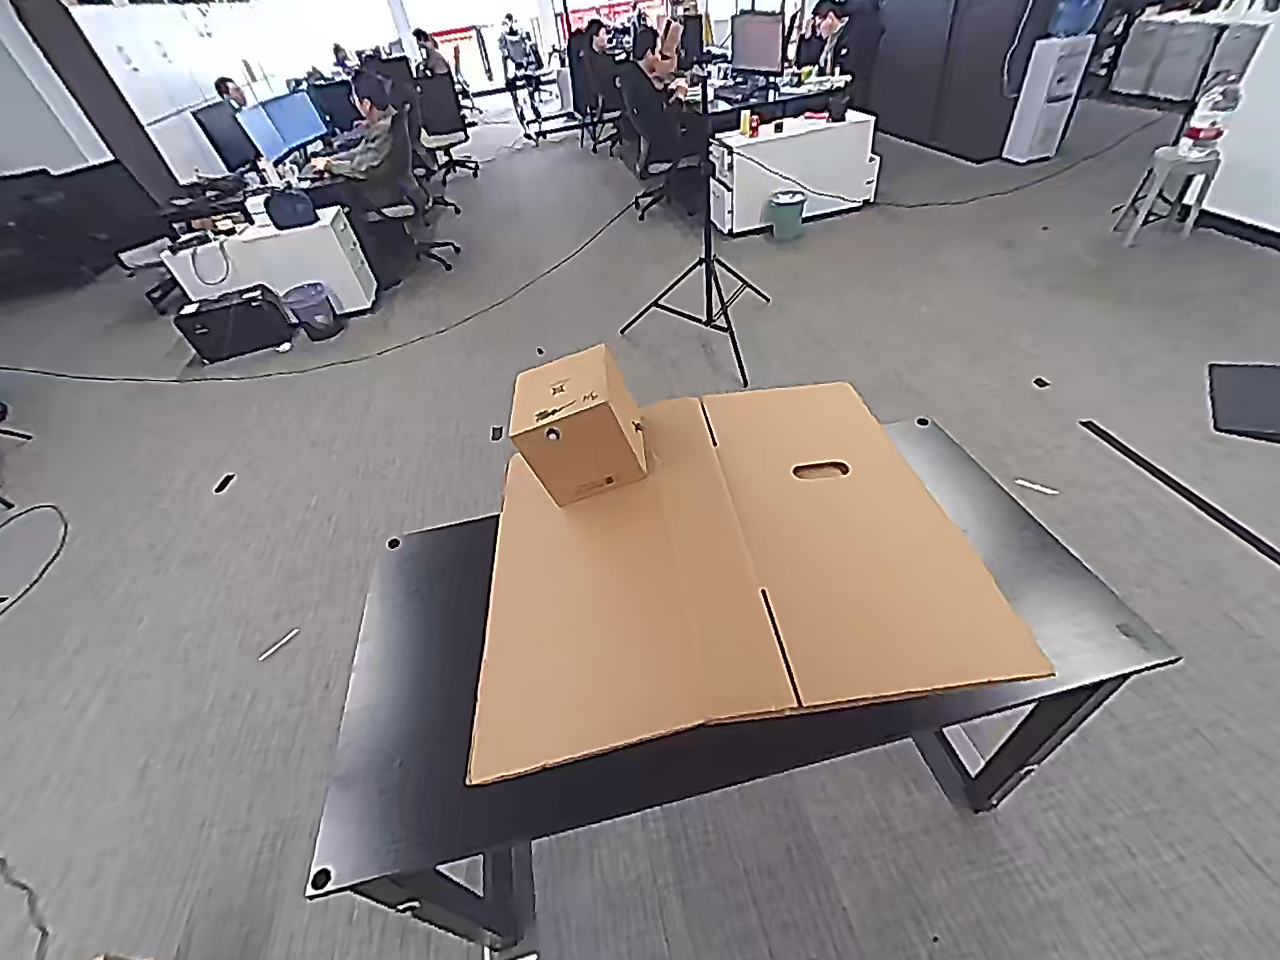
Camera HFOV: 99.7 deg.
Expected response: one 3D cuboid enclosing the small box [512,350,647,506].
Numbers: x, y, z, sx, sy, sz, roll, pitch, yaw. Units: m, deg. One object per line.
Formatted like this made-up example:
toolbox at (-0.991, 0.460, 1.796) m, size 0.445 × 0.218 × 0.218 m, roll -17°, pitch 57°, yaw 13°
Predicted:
small box at (-0.095, -0.086, 0.918) m, size 0.168 × 0.176 × 0.179 m, roll -19°, pitch 40°, yaw 11°
